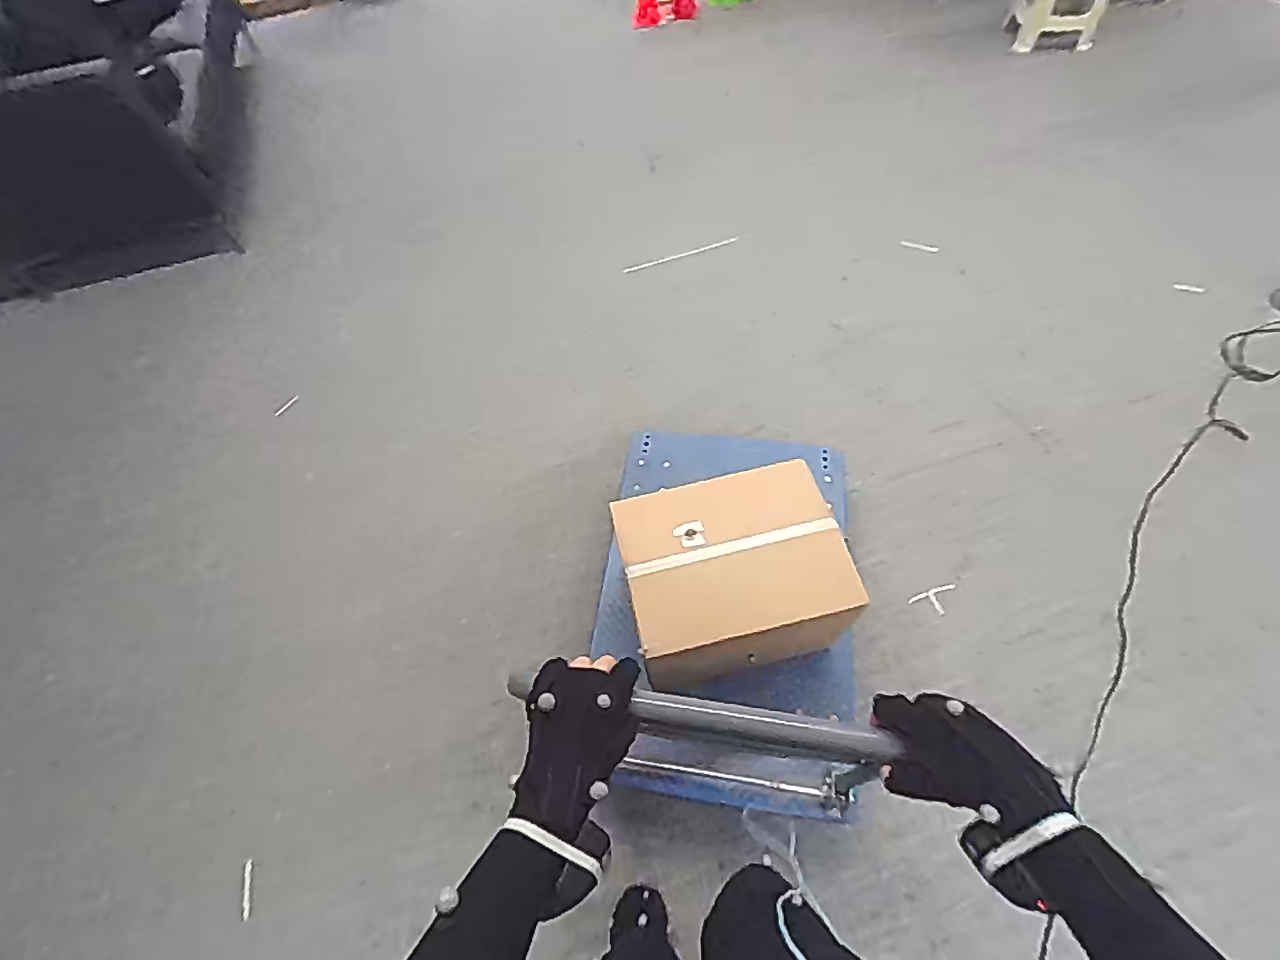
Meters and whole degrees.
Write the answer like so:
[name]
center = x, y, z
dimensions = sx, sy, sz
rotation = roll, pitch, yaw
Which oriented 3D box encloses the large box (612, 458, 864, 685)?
[large box]
center = 0.185, 0.205, 1.144
dimensions = 0.408, 0.320, 0.320
rotation = -15, 58, -2
